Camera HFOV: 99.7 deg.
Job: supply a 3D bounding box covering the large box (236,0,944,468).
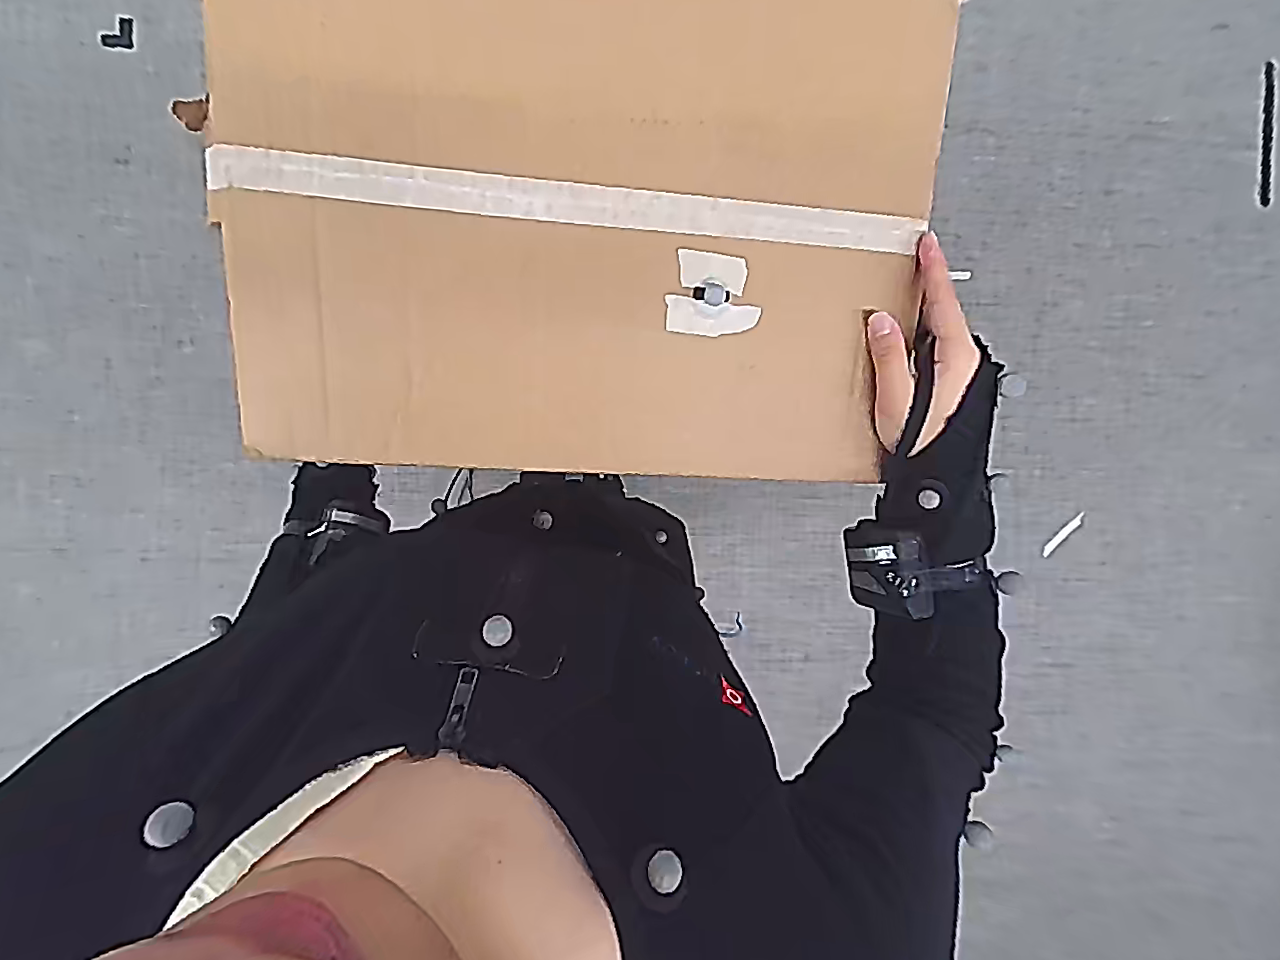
[{"bbox_3d":[-0.040,-0.190,0.468,0.408,0.320,0.320,2,102,-9],"label":"large box"}]
